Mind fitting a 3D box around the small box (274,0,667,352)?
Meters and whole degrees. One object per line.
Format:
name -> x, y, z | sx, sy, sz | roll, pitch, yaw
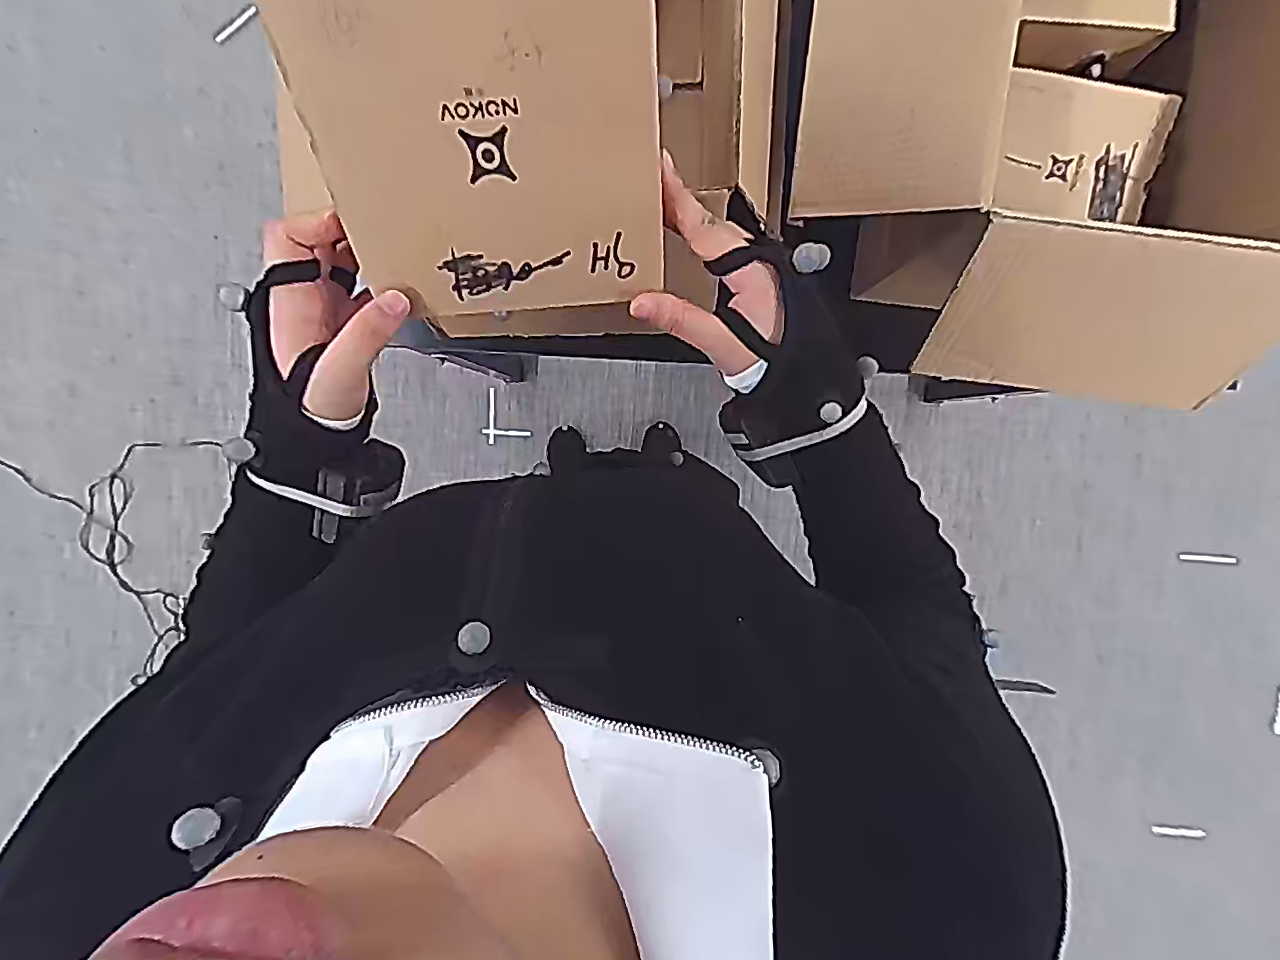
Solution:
small box -> -0.073, -0.201, 0.335 | 0.168, 0.176, 0.179 | -4, 130, 0
